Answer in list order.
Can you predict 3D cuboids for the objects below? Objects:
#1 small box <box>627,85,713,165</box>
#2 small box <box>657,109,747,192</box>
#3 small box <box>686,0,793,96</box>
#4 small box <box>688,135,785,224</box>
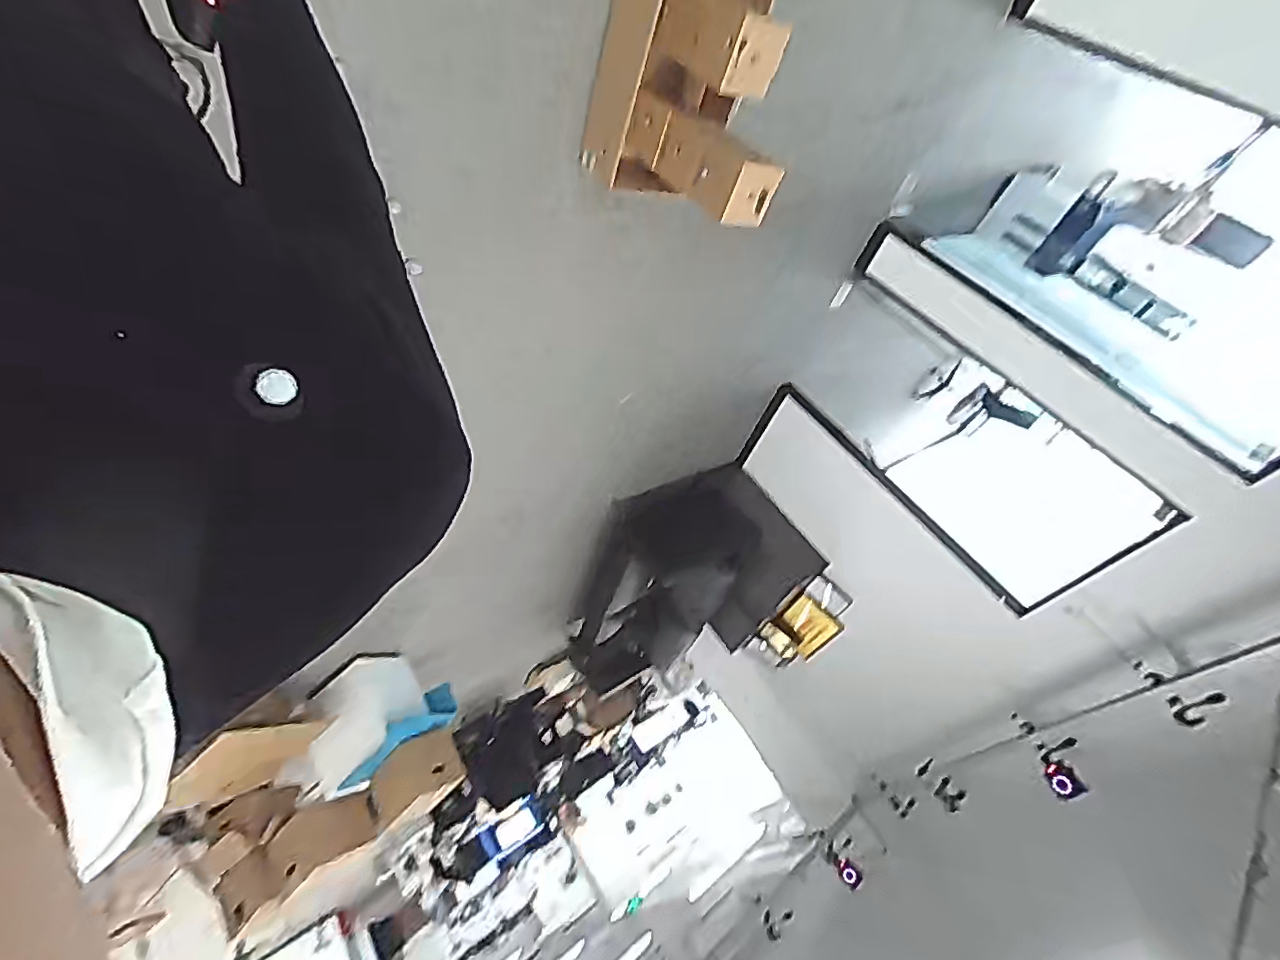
[{"bbox_3d":[0.086,-1.093,1.679,0.179,0.176,0.168,-18,148,-36],"label":"small box"},{"bbox_3d":[0.178,-0.975,1.611,0.179,0.176,0.168,-18,148,-36],"label":"small box"},{"bbox_3d":[0.255,-1.143,1.414,0.179,0.176,0.168,-19,150,-34],"label":"small box"},{"bbox_3d":[0.271,-0.857,1.543,0.179,0.176,0.168,-17,147,-35],"label":"small box"}]
